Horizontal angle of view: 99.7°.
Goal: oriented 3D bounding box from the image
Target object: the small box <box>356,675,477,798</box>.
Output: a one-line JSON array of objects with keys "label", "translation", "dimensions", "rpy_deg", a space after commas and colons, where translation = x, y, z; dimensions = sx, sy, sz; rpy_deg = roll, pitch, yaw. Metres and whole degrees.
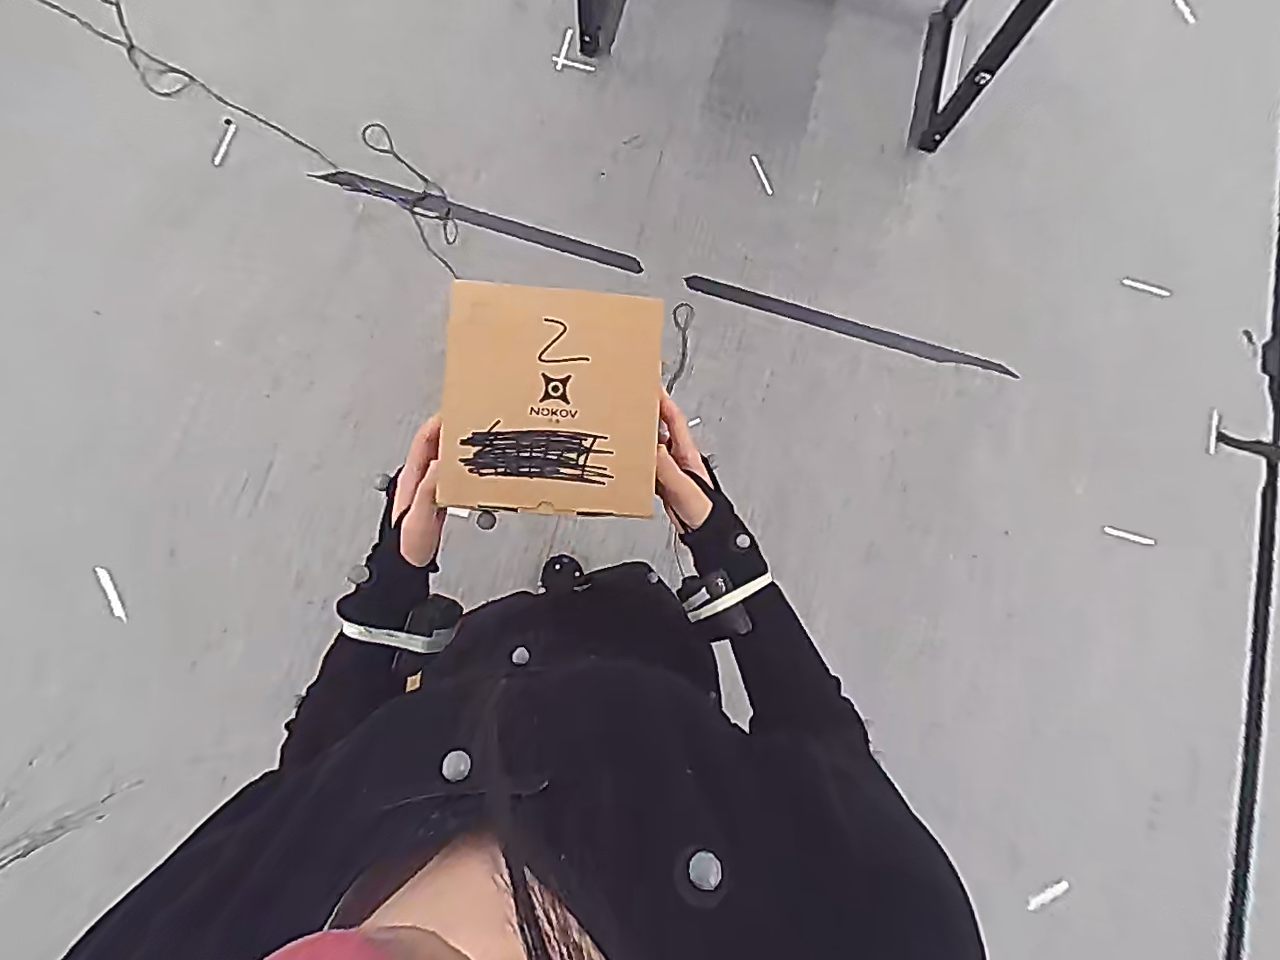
[{"label": "small box", "translation": [-0.472, 0.547, 1.176], "dimensions": [0.168, 0.176, 0.179], "rpy_deg": [18, 80, -1]}]

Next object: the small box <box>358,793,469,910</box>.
[{"label": "small box", "translation": [-0.531, 0.874, 1.289], "dimensions": [0.179, 0.176, 0.168], "rpy_deg": [9, 82, -2]}]

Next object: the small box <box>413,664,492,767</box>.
[{"label": "small box", "translation": [-0.480, 0.573, 1.336], "dimensions": [0.168, 0.176, 0.179], "rpy_deg": [15, 80, -2]}]
